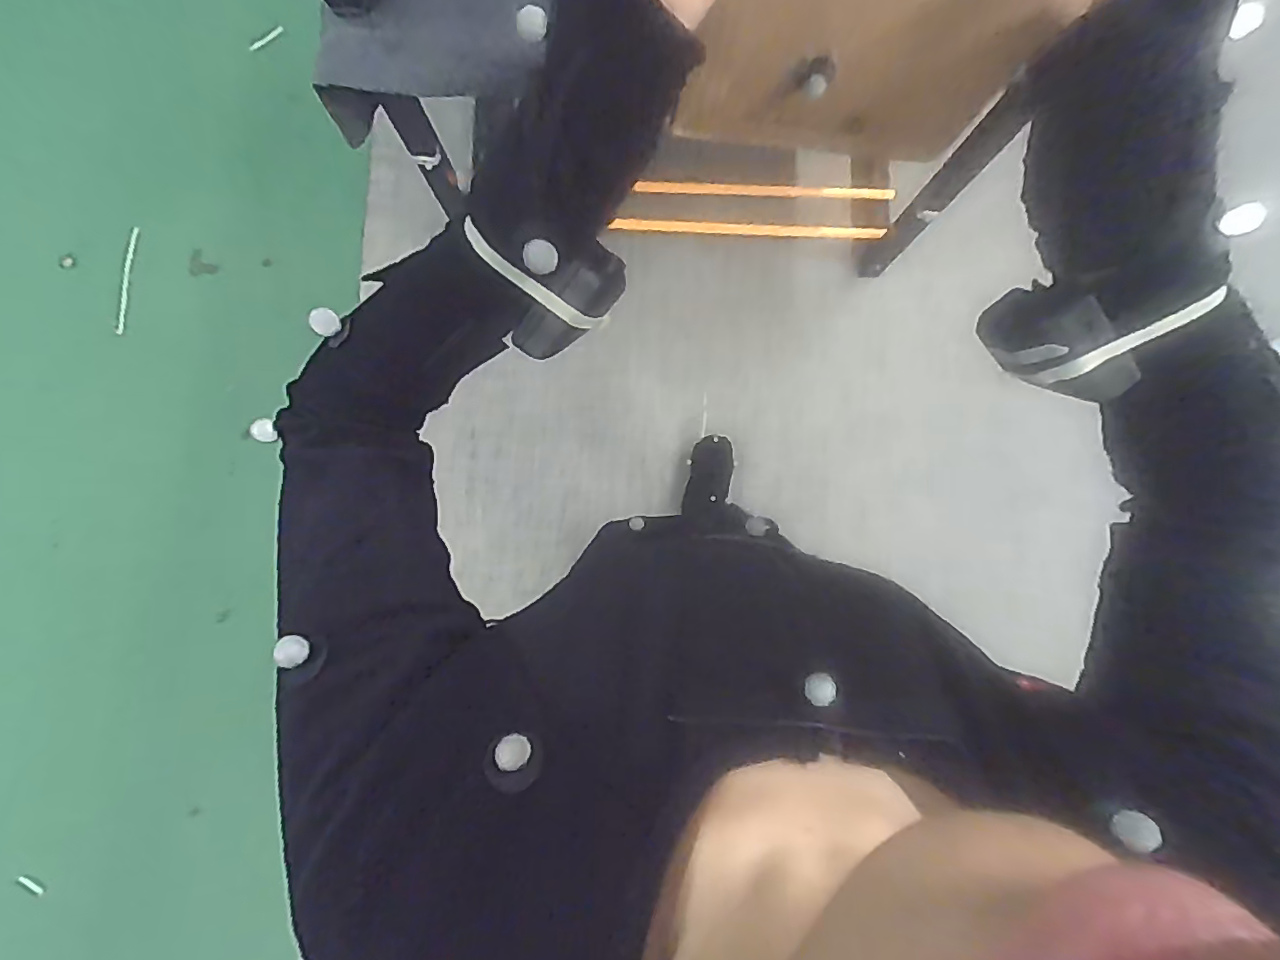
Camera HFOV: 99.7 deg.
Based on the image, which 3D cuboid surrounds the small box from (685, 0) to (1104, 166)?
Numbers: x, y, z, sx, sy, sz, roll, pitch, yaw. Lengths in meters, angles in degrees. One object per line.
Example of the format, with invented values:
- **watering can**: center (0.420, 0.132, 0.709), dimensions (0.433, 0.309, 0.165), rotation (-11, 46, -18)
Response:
- **small box**: center (0.116, -0.289, 0.252), dimensions (0.168, 0.176, 0.179), rotation (4, 87, -4)
